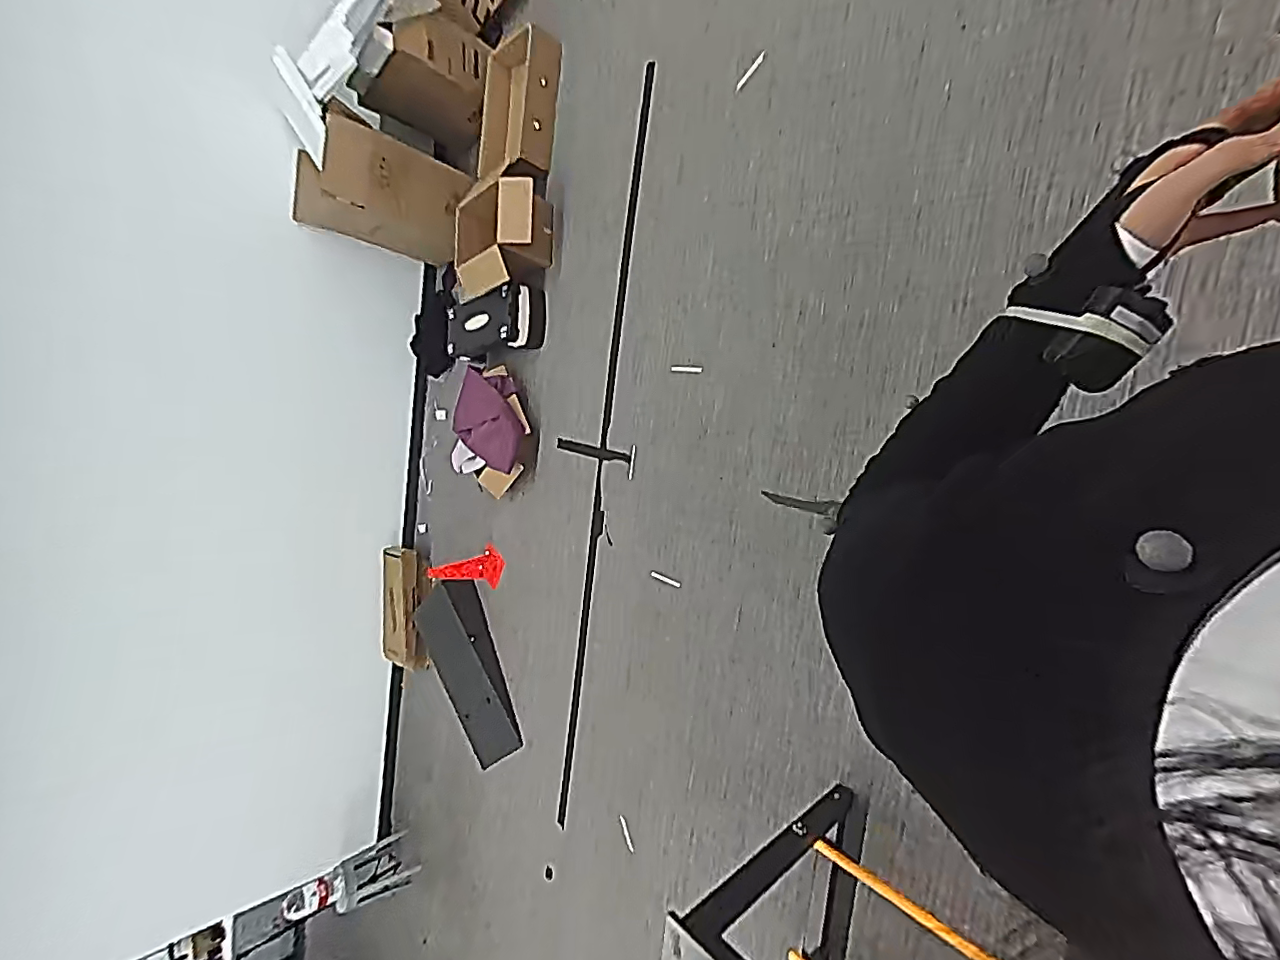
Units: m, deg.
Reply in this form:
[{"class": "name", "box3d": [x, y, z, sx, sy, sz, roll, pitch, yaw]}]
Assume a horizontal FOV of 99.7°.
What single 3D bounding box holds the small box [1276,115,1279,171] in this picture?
[{"class": "small box", "box3d": [0.485, -0.279, 0.290, 0.168, 0.176, 0.179, 13, 108, 48]}]
